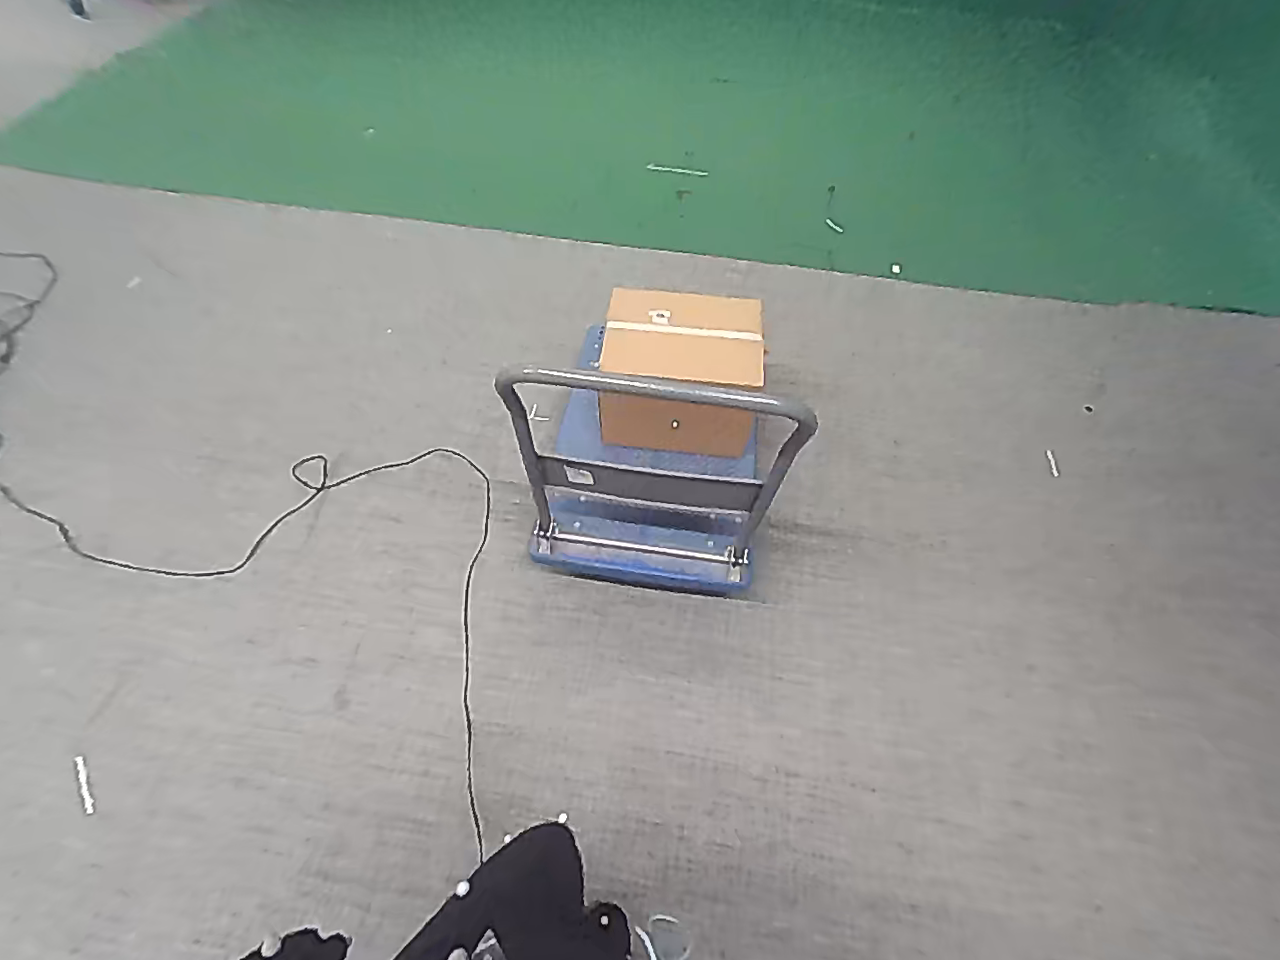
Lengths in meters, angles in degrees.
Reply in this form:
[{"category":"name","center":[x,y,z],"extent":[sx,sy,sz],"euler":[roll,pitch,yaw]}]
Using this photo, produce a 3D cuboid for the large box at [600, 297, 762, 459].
[{"category":"large box","center":[0.111,-0.279,1.521],"extent":[0.408,0.320,0.320],"euler":[5,57,2]}]
